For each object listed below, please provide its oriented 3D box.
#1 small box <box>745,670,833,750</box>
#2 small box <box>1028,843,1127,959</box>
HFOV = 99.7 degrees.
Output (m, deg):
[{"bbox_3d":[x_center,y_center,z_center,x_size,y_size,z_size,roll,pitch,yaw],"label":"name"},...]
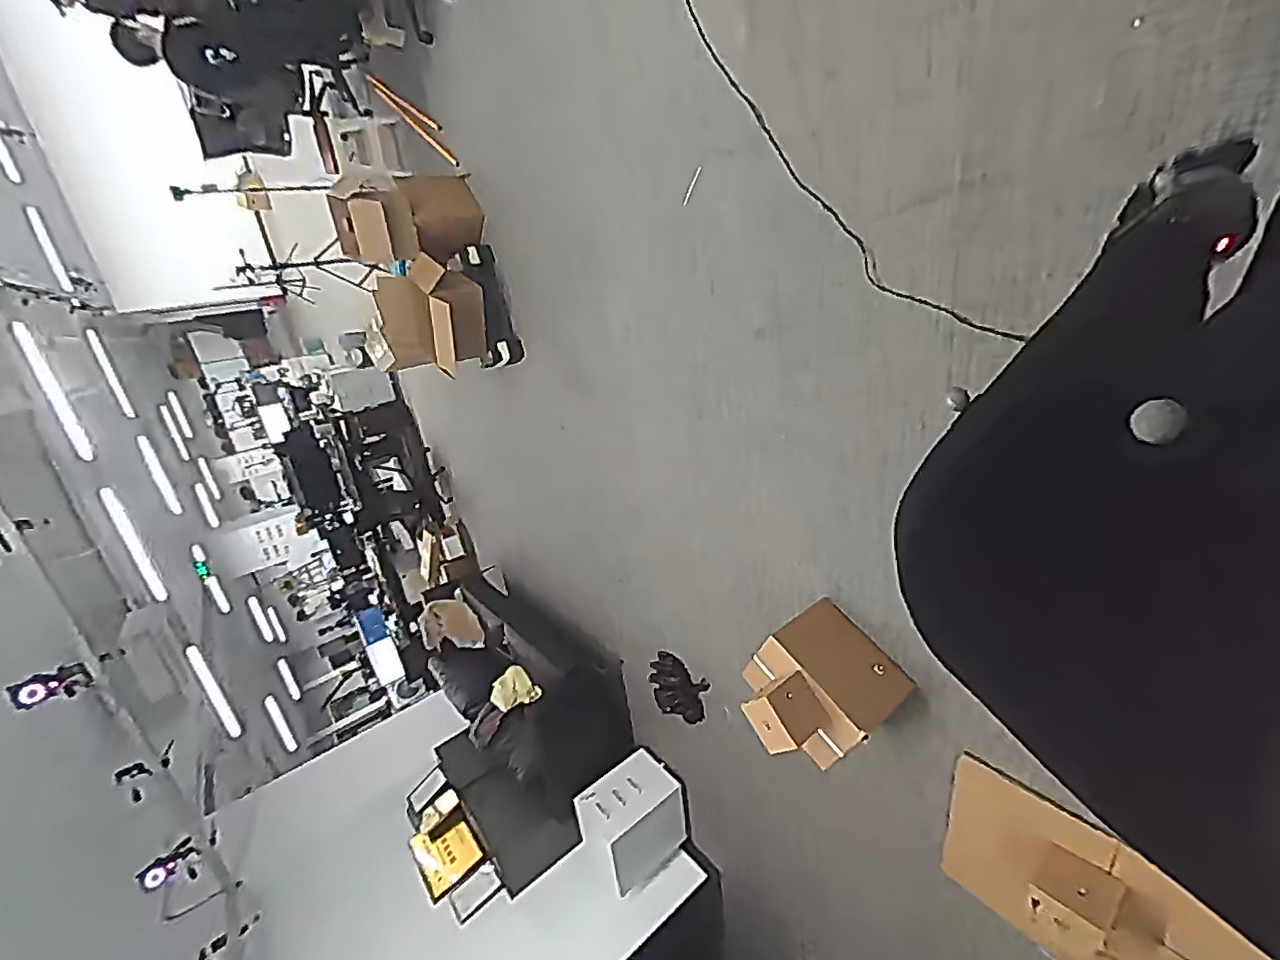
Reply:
[{"bbox_3d":[0.484,0.742,1.761,0.179,0.176,0.168,56,146,17],"label":"small box"},{"bbox_3d":[1.211,1.164,1.496,0.179,0.176,0.168,14,122,51],"label":"small box"}]
